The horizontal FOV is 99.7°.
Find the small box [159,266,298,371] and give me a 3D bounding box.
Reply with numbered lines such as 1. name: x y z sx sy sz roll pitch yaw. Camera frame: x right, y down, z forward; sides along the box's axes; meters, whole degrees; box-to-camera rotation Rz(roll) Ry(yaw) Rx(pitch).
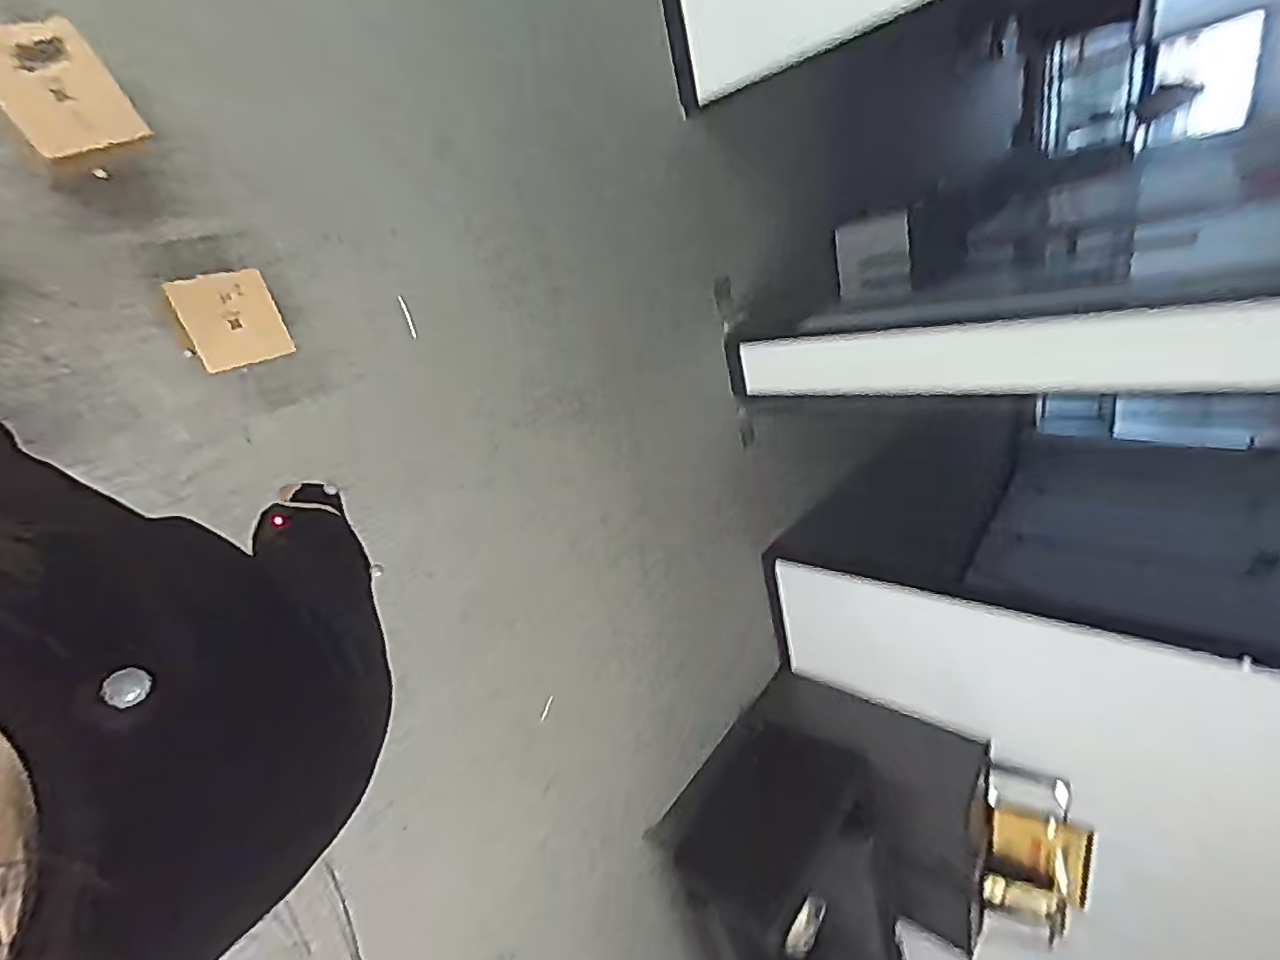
1. small box: -0.862 -0.336 1.134 0.168 0.176 0.179 -33 119 -40

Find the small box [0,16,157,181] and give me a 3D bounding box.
1. small box: -1.001 -0.652 0.937 0.168 0.176 0.179 -46 127 -32
